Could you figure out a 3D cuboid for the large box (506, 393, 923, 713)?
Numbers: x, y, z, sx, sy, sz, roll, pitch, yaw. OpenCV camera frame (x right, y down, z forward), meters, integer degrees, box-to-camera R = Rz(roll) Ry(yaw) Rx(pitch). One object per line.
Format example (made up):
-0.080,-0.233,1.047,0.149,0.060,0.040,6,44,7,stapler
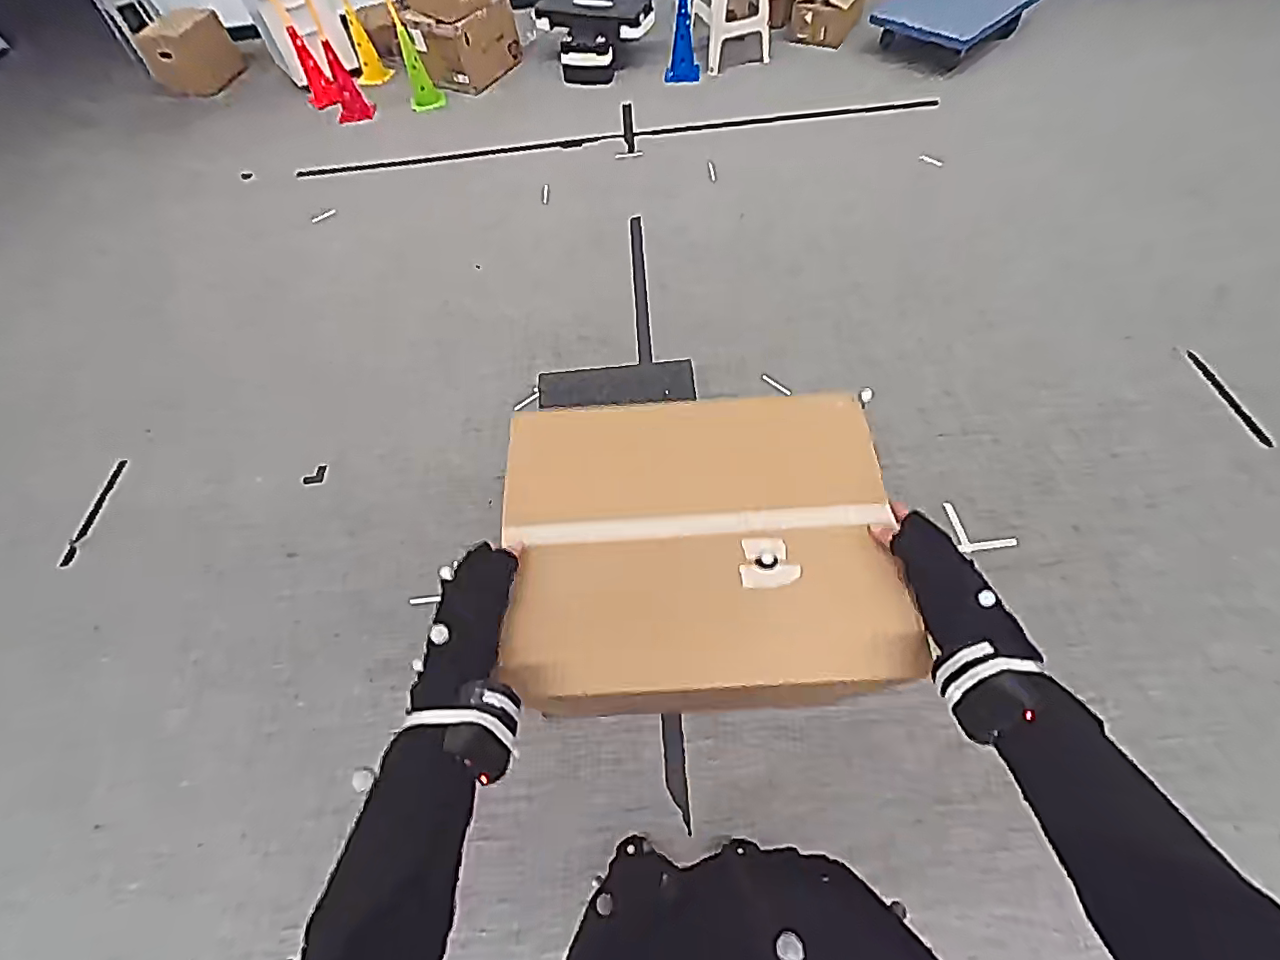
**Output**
0.065,0.114,0.705,0.408,0.320,0.320,-4,64,1,large box

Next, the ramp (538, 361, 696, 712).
-0.038,0.106,1.549,0.509,0.206,0.991,-7,58,0,ramp
